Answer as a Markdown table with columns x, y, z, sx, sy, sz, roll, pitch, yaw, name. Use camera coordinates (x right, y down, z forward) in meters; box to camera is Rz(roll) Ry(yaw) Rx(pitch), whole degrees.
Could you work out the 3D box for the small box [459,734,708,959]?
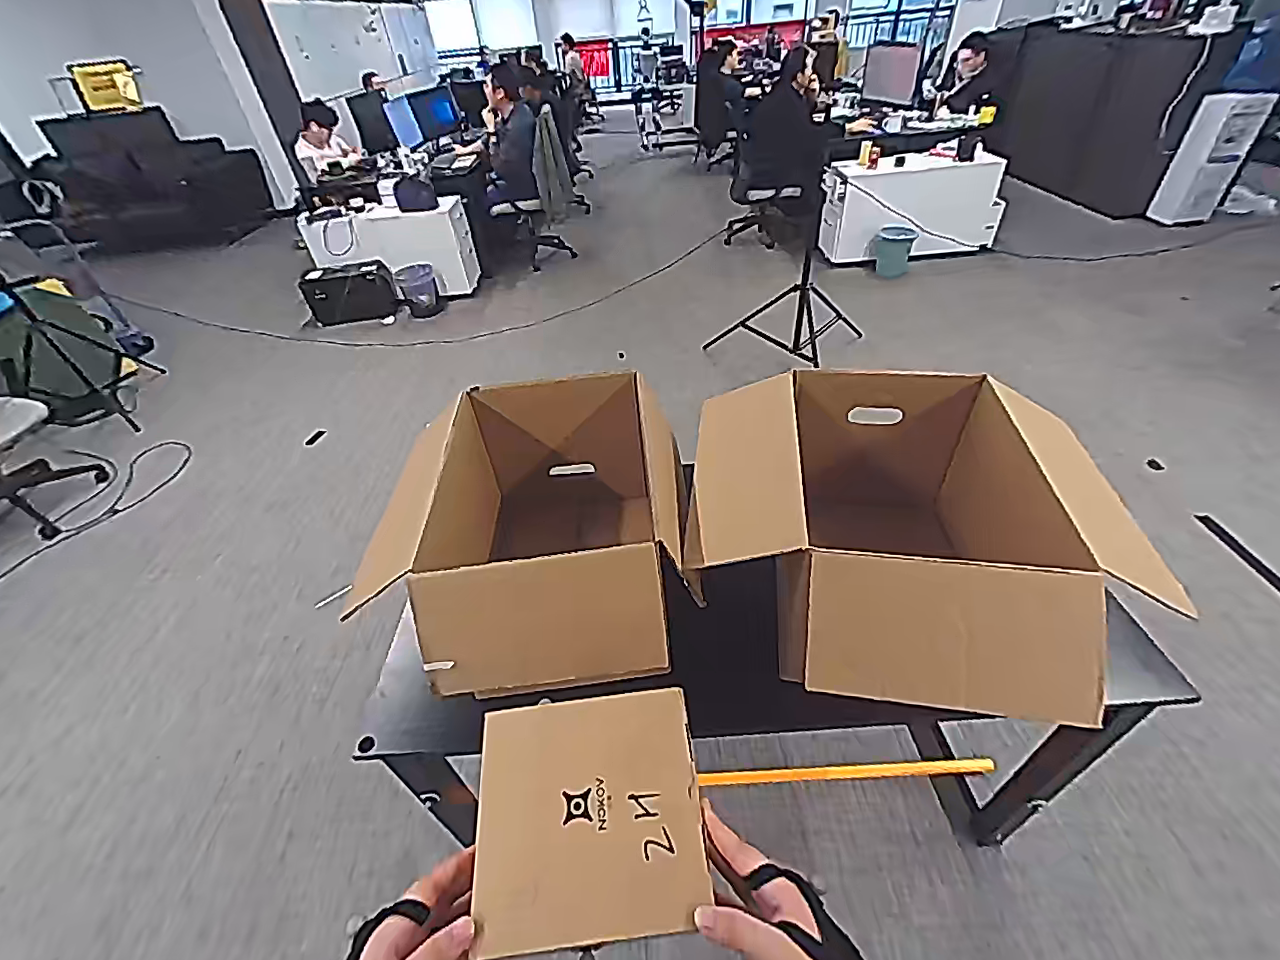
| x | y | z | sx | sy | sz | roll | pitch | yaw | name |
| --- | --- | --- | --- | --- | --- | --- | --- | --- | --- |
| -0.040 | 0.339 | 0.470 | 0.179 | 0.176 | 0.168 | -6 | 51 | -1 | small box |
